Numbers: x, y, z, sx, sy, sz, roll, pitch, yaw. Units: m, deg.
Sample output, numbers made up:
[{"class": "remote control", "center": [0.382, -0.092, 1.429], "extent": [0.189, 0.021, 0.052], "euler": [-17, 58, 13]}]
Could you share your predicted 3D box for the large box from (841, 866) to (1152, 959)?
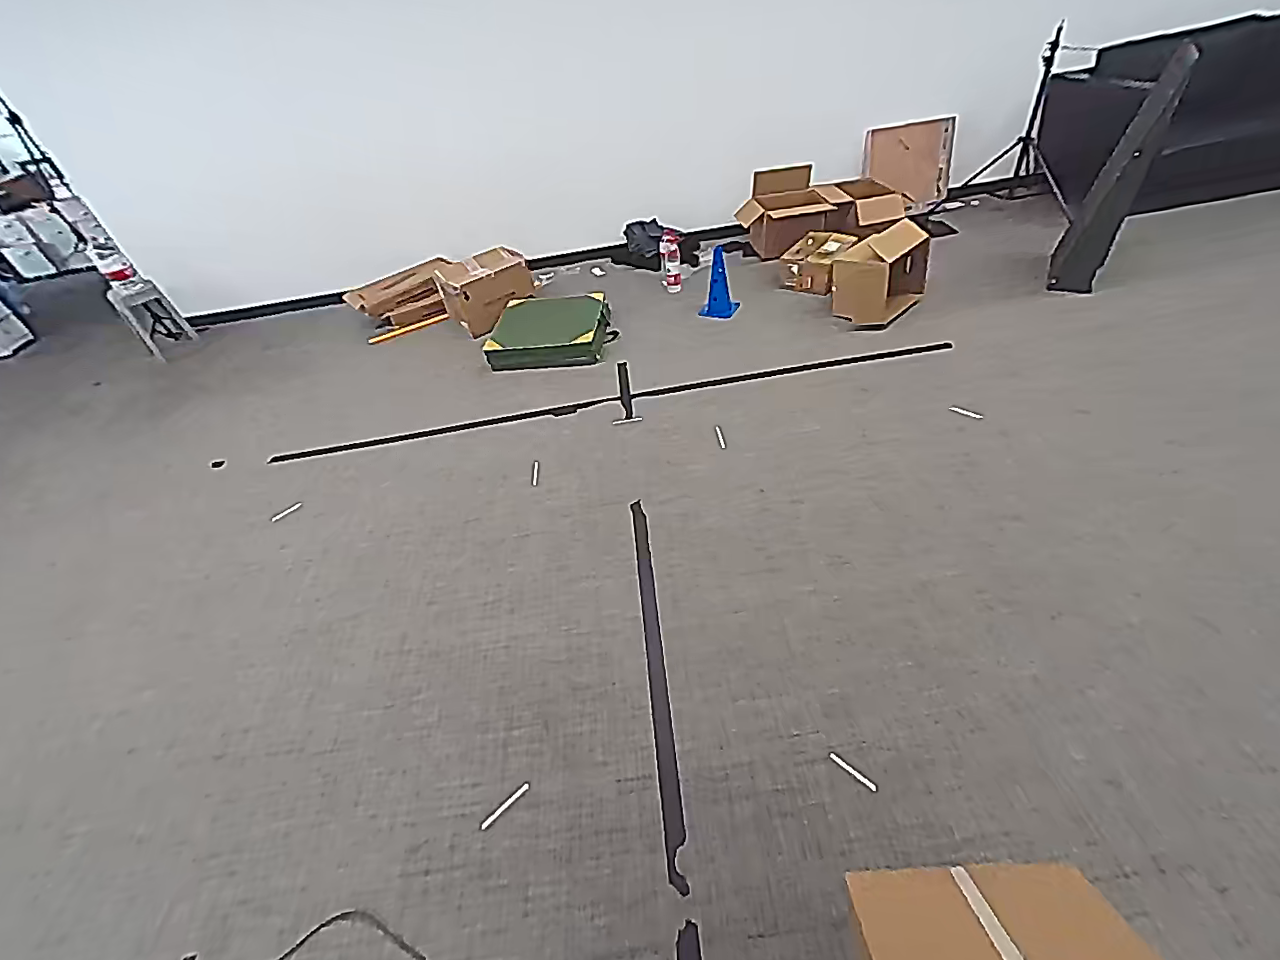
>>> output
[{"class": "large box", "center": [0.438, 0.706, 0.572], "extent": [0.320, 0.320, 0.408], "euler": [-9, 0, 7]}]
